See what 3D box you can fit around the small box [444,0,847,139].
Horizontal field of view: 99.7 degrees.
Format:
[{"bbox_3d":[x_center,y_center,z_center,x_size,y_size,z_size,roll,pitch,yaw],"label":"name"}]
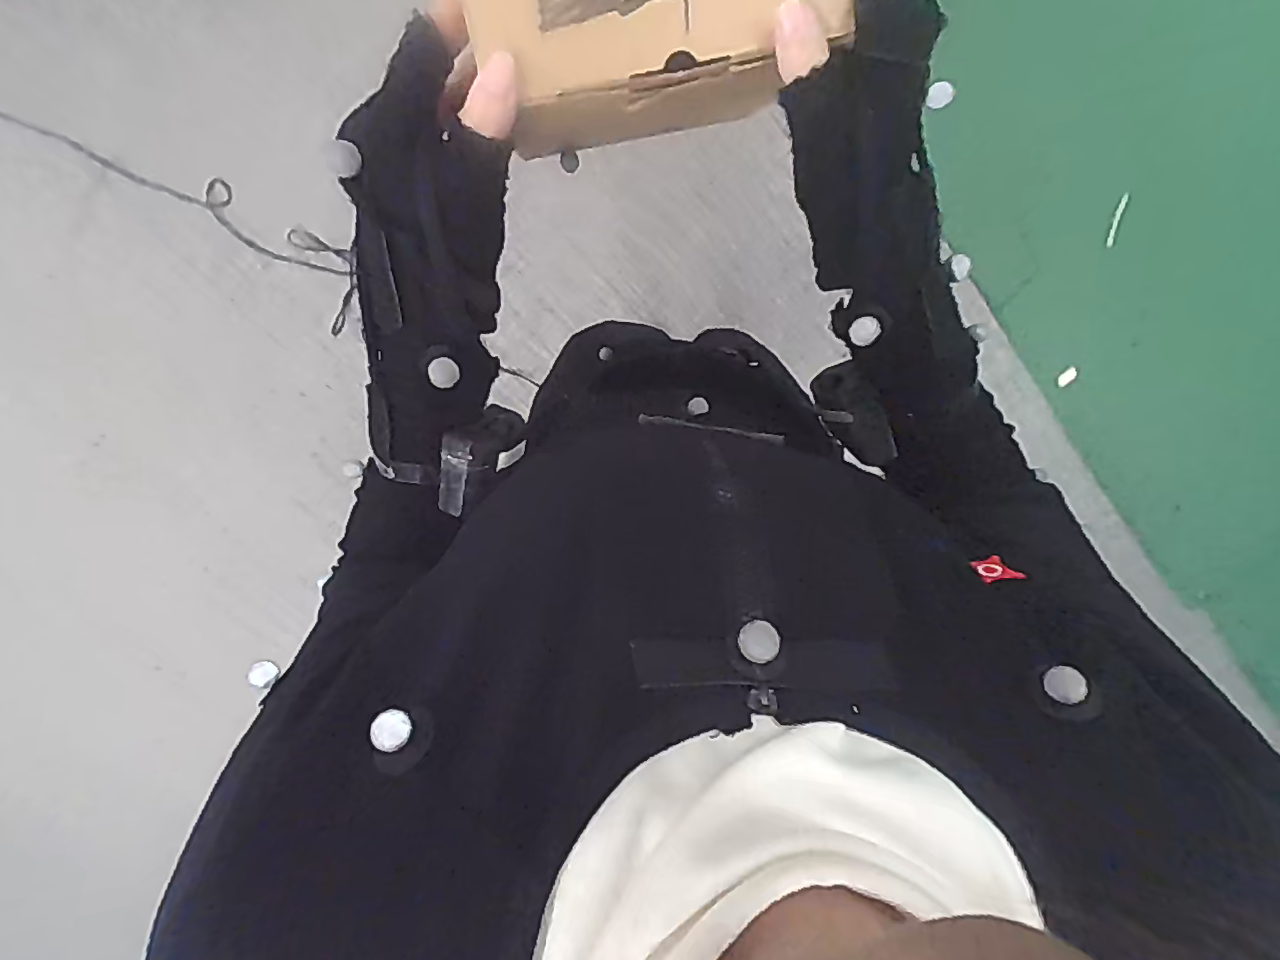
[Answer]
[{"bbox_3d":[-0.015,-0.286,0.264,0.168,0.176,0.179,-13,114,-1],"label":"small box"}]
